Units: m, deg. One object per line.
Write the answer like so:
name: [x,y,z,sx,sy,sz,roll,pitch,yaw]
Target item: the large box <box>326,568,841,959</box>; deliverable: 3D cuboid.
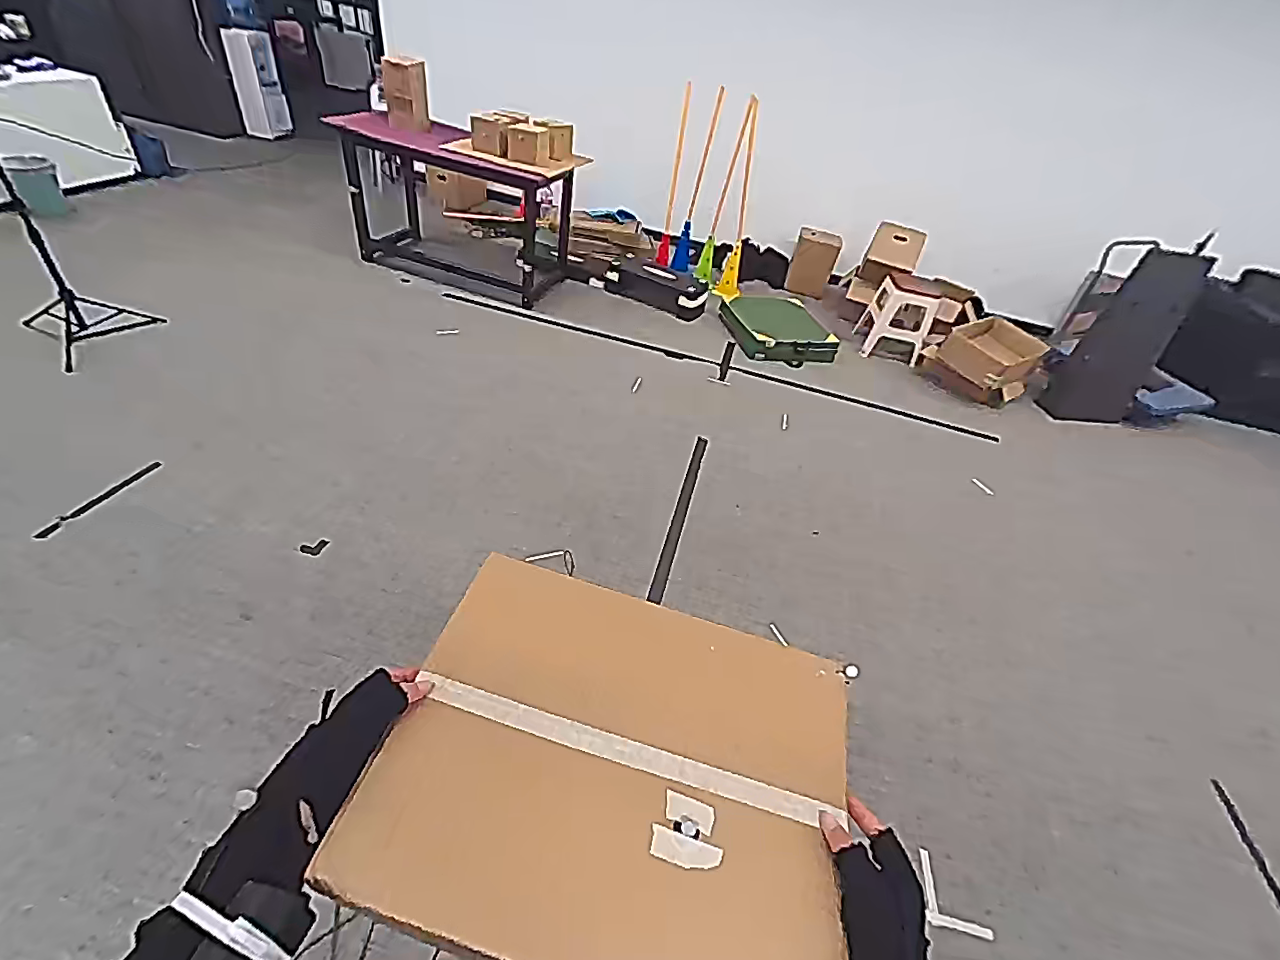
large box: [-0.037,0.357,0.598,0.408,0.320,0.320,17,46,3]
